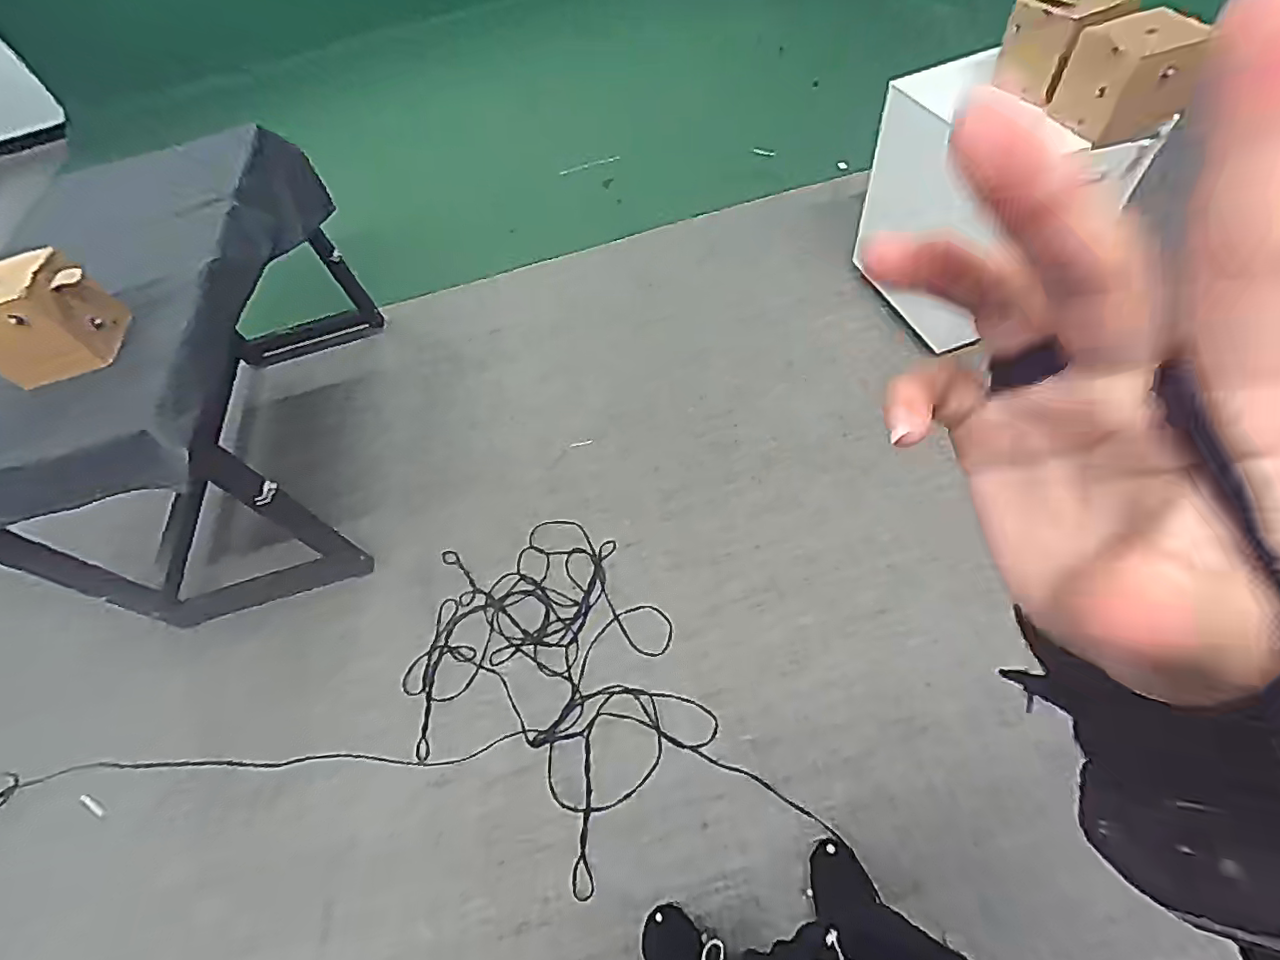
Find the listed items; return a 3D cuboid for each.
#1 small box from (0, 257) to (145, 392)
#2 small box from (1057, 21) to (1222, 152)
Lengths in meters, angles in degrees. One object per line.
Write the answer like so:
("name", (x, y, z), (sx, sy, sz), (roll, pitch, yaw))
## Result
("small box", (-1.141, -0.296, 1.054), (0.179, 0.176, 0.168), (-17, 55, -1))
("small box", (1.049, -0.839, 1.164), (0.179, 0.176, 0.168), (-16, 56, -1))
